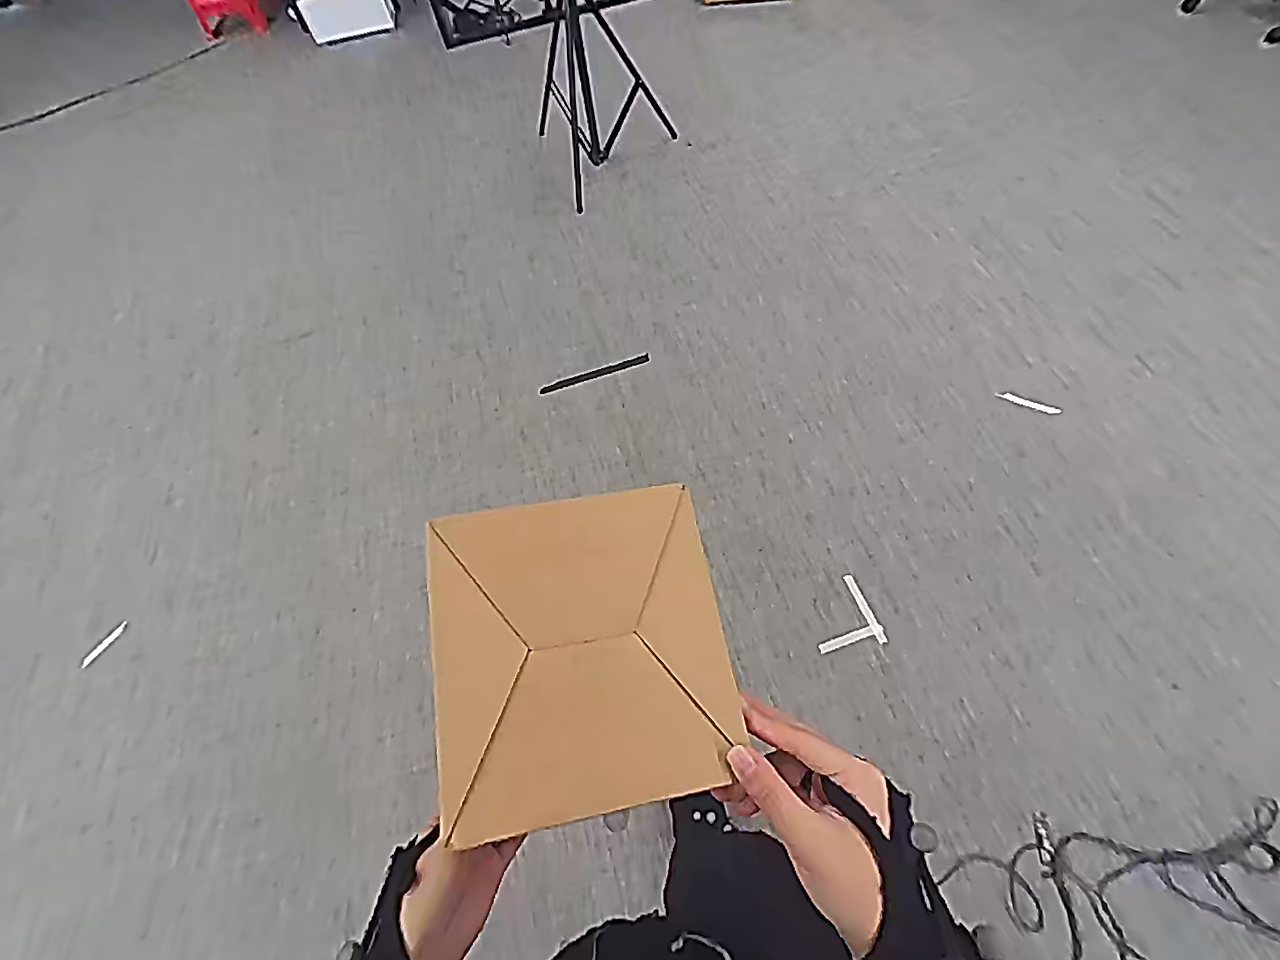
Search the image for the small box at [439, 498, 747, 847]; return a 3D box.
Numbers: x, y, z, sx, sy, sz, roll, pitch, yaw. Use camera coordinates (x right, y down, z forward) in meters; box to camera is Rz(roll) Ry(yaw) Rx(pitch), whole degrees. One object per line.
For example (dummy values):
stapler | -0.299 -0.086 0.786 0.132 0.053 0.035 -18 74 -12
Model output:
small box | -0.038 0.127 0.385 0.168 0.176 0.179 -8 67 -10
